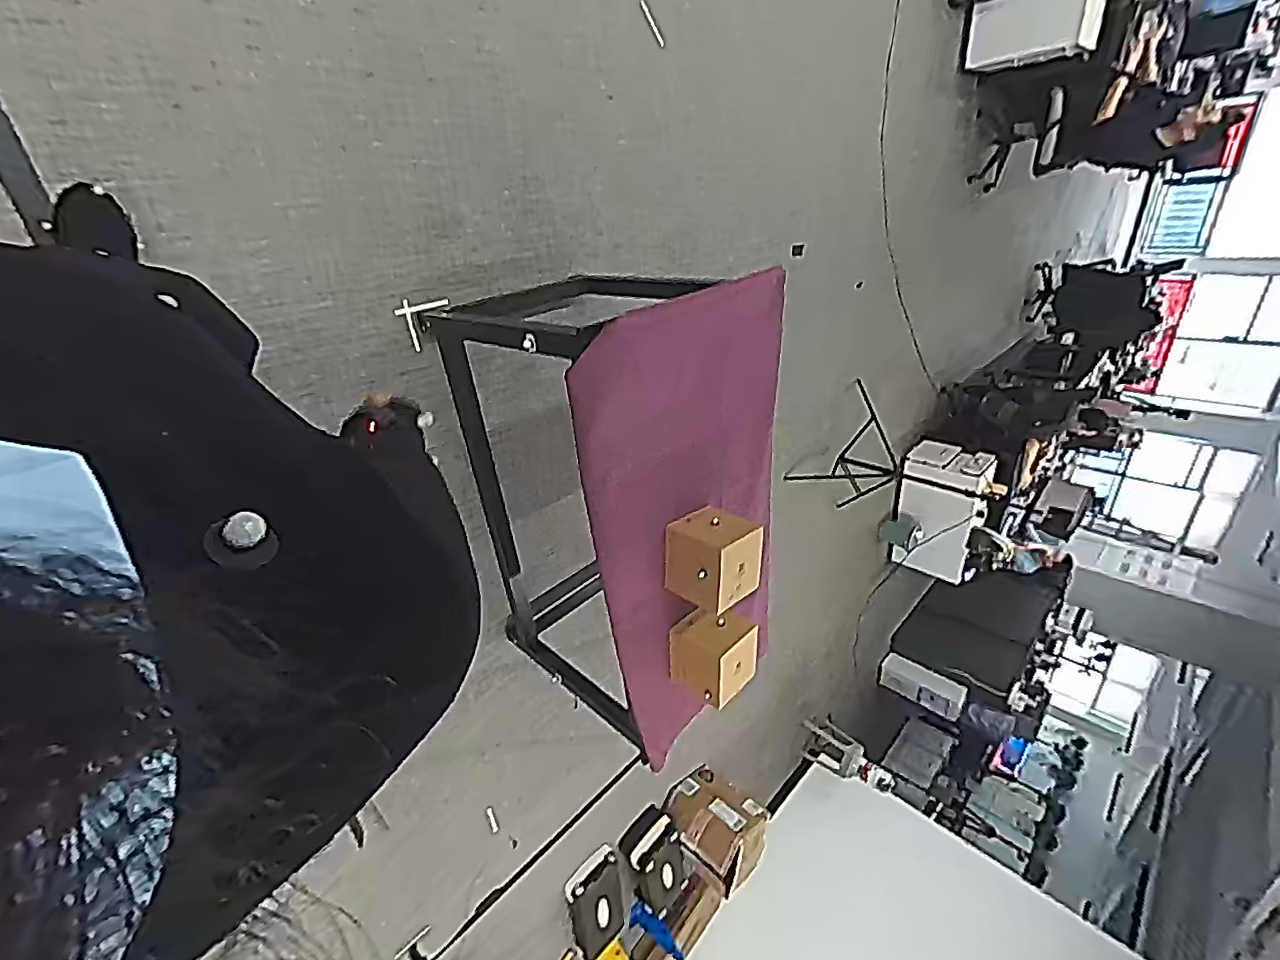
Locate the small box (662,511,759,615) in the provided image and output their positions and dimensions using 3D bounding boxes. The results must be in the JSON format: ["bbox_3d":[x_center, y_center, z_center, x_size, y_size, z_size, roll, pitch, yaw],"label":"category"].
[{"bbox_3d":[0.166,0.188,1.304,0.168,0.176,0.179,-20,120,-41],"label":"small box"}]

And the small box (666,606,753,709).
[{"bbox_3d":[0.182,0.458,1.433,0.168,0.176,0.179,-26,123,-40],"label":"small box"}]
